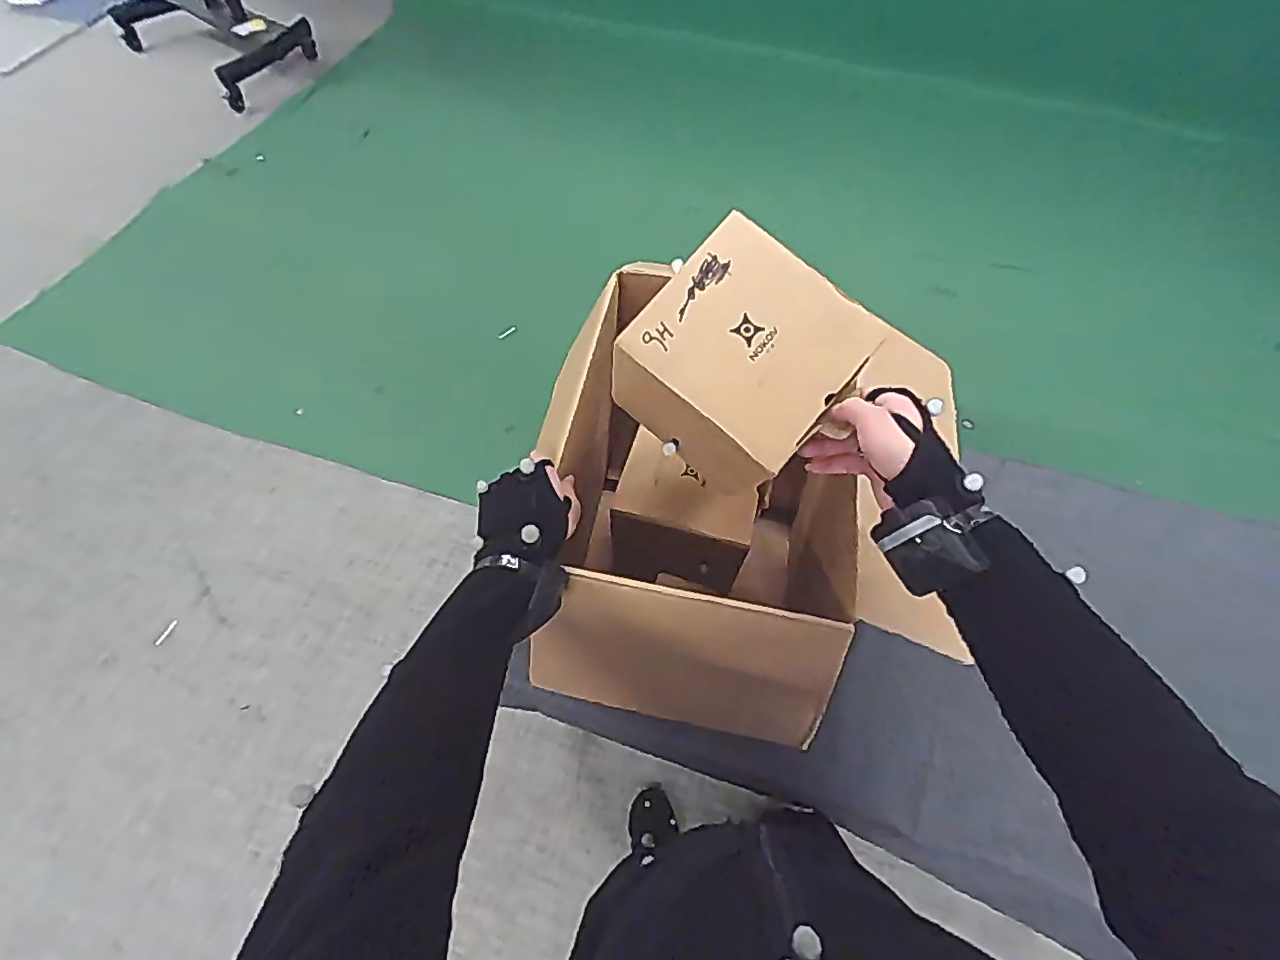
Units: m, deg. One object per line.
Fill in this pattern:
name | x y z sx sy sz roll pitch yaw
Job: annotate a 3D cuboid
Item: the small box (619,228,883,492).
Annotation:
small box | 0.095 -0.102 0.549 0.179 0.176 0.168 40 81 3
